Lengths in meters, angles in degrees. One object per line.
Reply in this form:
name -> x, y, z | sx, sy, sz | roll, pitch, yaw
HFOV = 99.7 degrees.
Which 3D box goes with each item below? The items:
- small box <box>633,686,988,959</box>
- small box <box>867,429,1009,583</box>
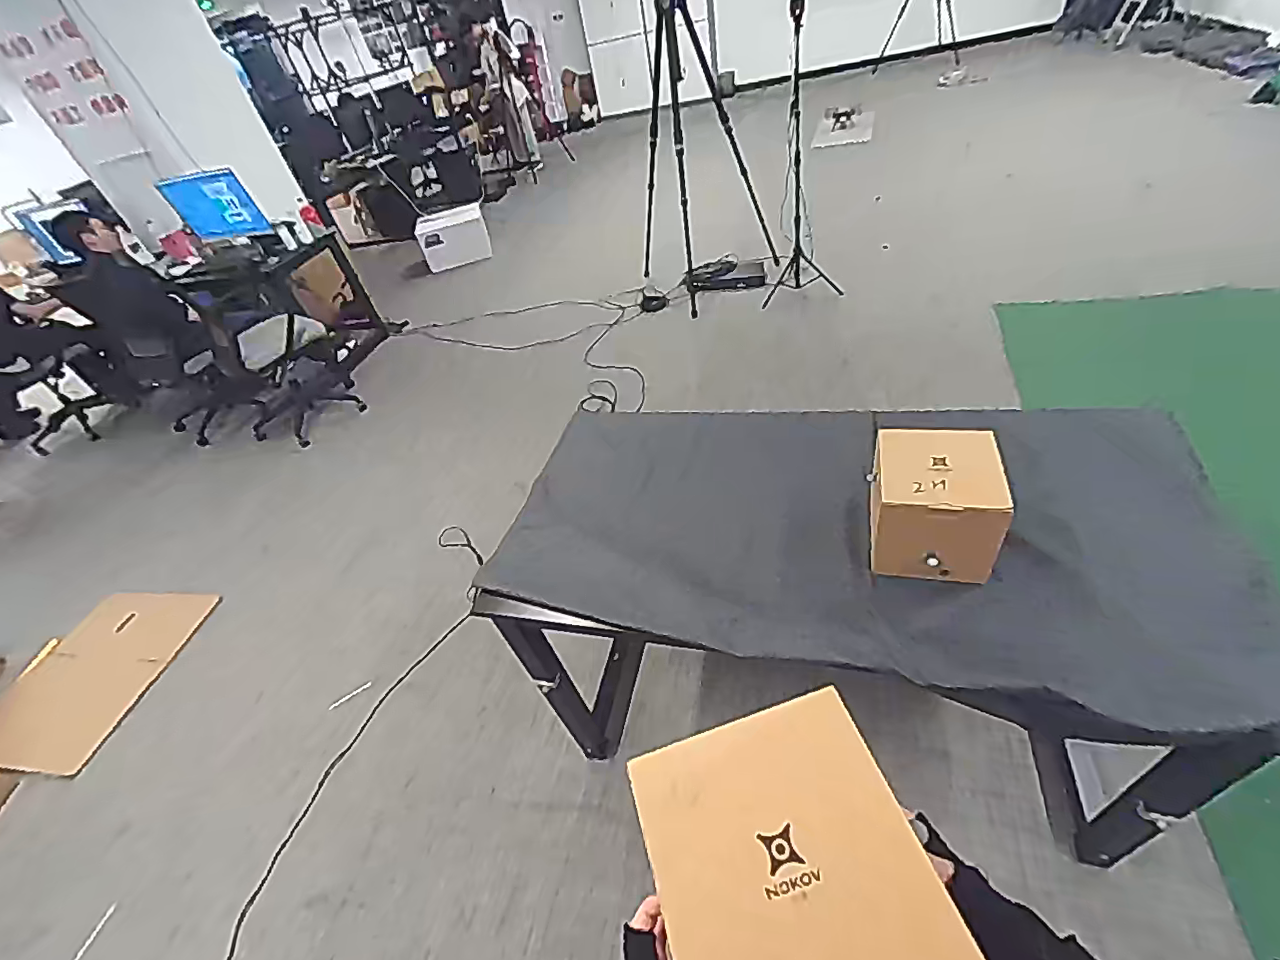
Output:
small box -> 0.104, 0.288, 0.397 | 0.168, 0.176, 0.179 | -18, 47, -4
small box -> 0.461, 0.039, 0.867 | 0.168, 0.176, 0.179 | 3, 45, 19
